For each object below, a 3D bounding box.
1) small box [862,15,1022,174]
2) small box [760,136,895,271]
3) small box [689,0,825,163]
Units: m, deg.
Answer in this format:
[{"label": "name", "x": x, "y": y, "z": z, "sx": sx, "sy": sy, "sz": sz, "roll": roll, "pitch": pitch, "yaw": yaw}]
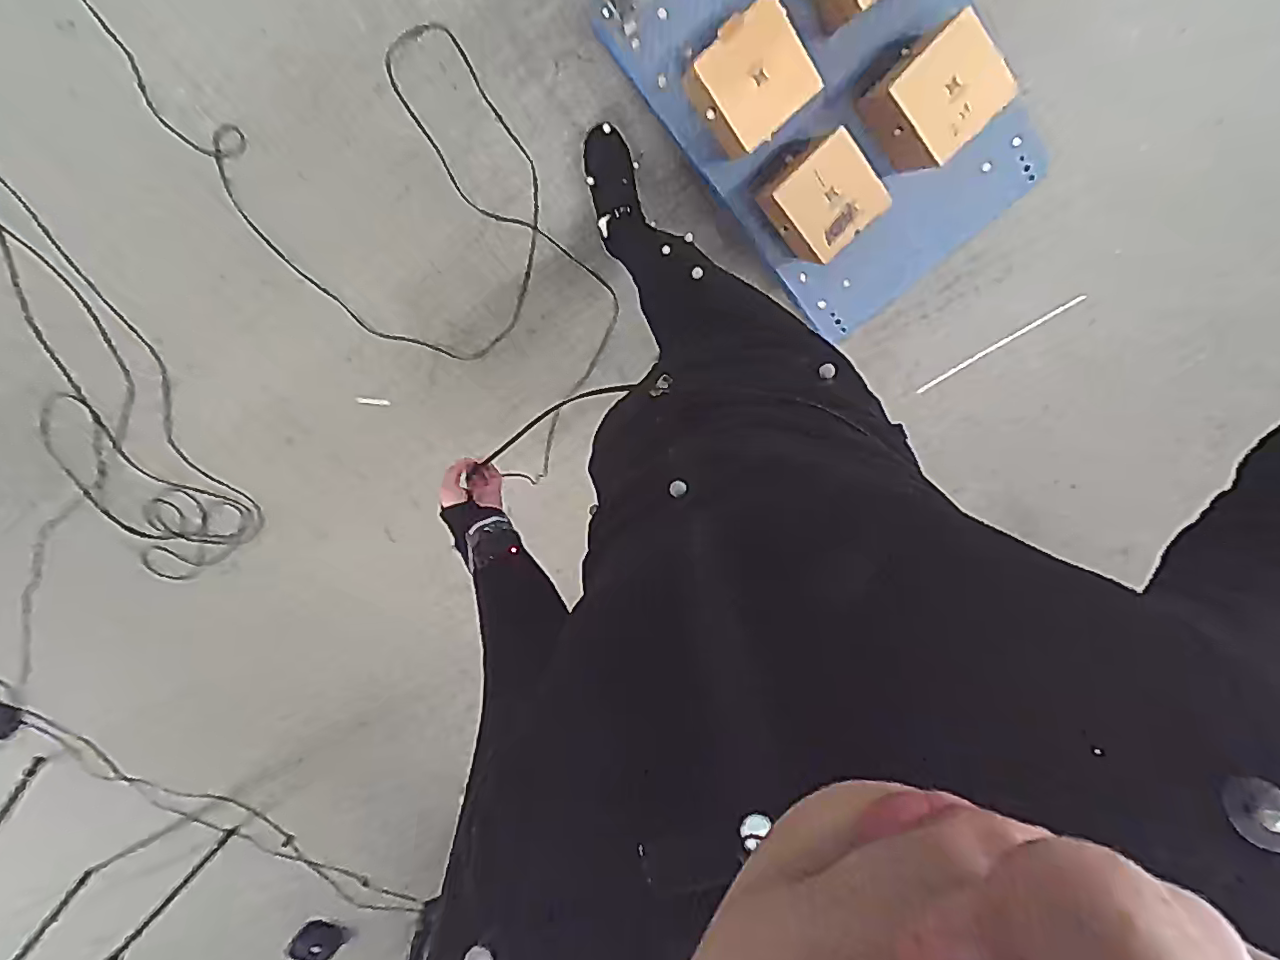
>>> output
[{"label": "small box", "x": 0.560, "y": -0.712, "z": 1.028, "sx": 0.179, "sy": 0.176, "sz": 0.168, "roll": 41, "pitch": 109, "yaw": -19}, {"label": "small box", "x": 0.372, "y": -0.557, "z": 1.100, "sx": 0.168, "sy": 0.176, "sz": 0.179, "roll": -41, "pitch": 109, "yaw": 16}, {"label": "small box", "x": 0.211, "y": -0.728, "z": 1.016, "sx": 0.168, "sy": 0.176, "sz": 0.179, "roll": -38, "pitch": 111, "yaw": 15}]
